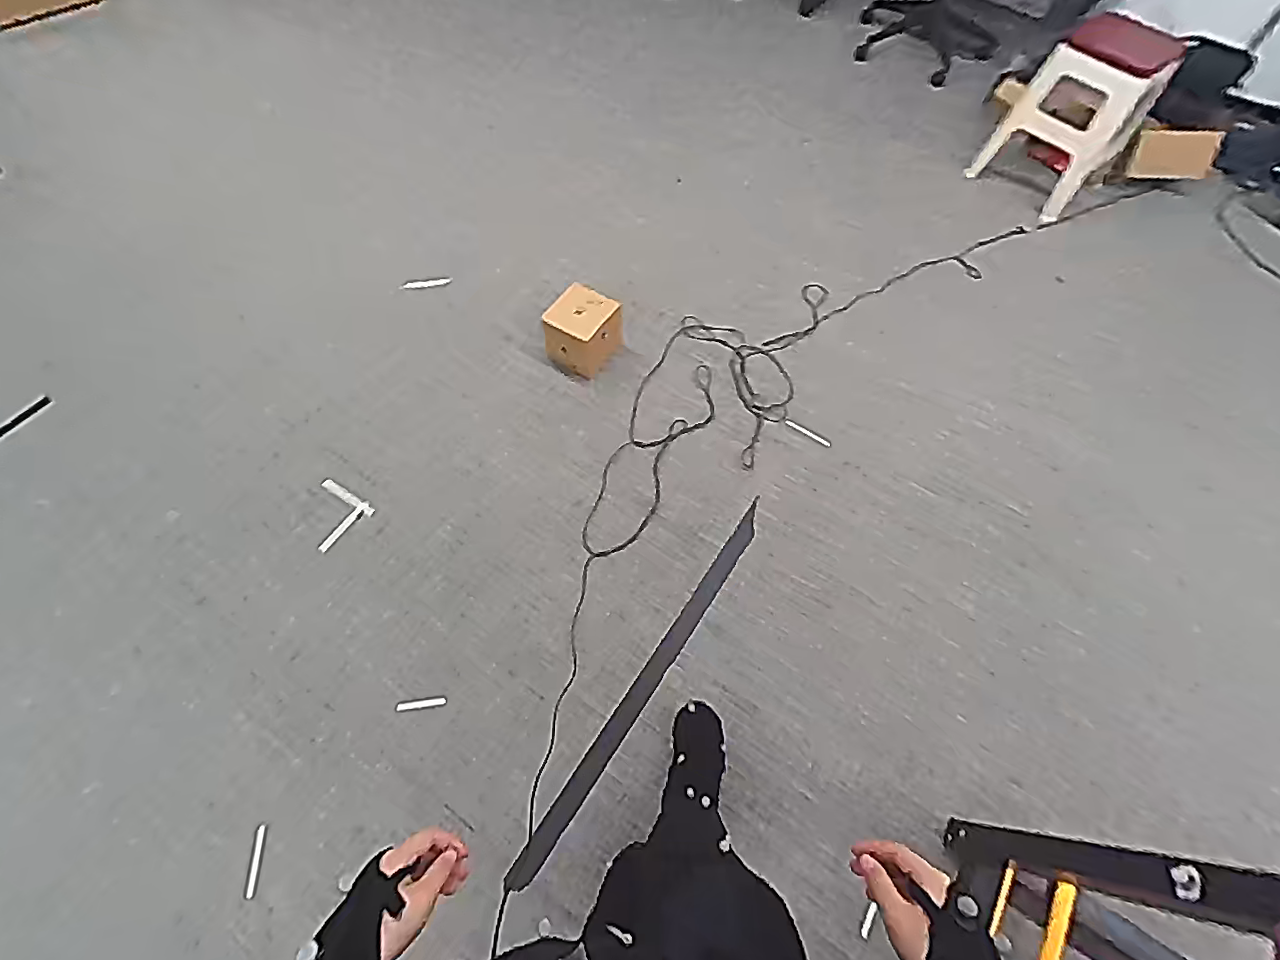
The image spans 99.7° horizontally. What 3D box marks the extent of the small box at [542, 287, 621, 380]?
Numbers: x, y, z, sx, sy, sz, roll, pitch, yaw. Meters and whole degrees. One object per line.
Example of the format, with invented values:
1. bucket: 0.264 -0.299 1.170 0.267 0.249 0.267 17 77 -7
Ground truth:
1. small box: -0.165 -0.433 1.619 0.168 0.176 0.179 30 66 14
